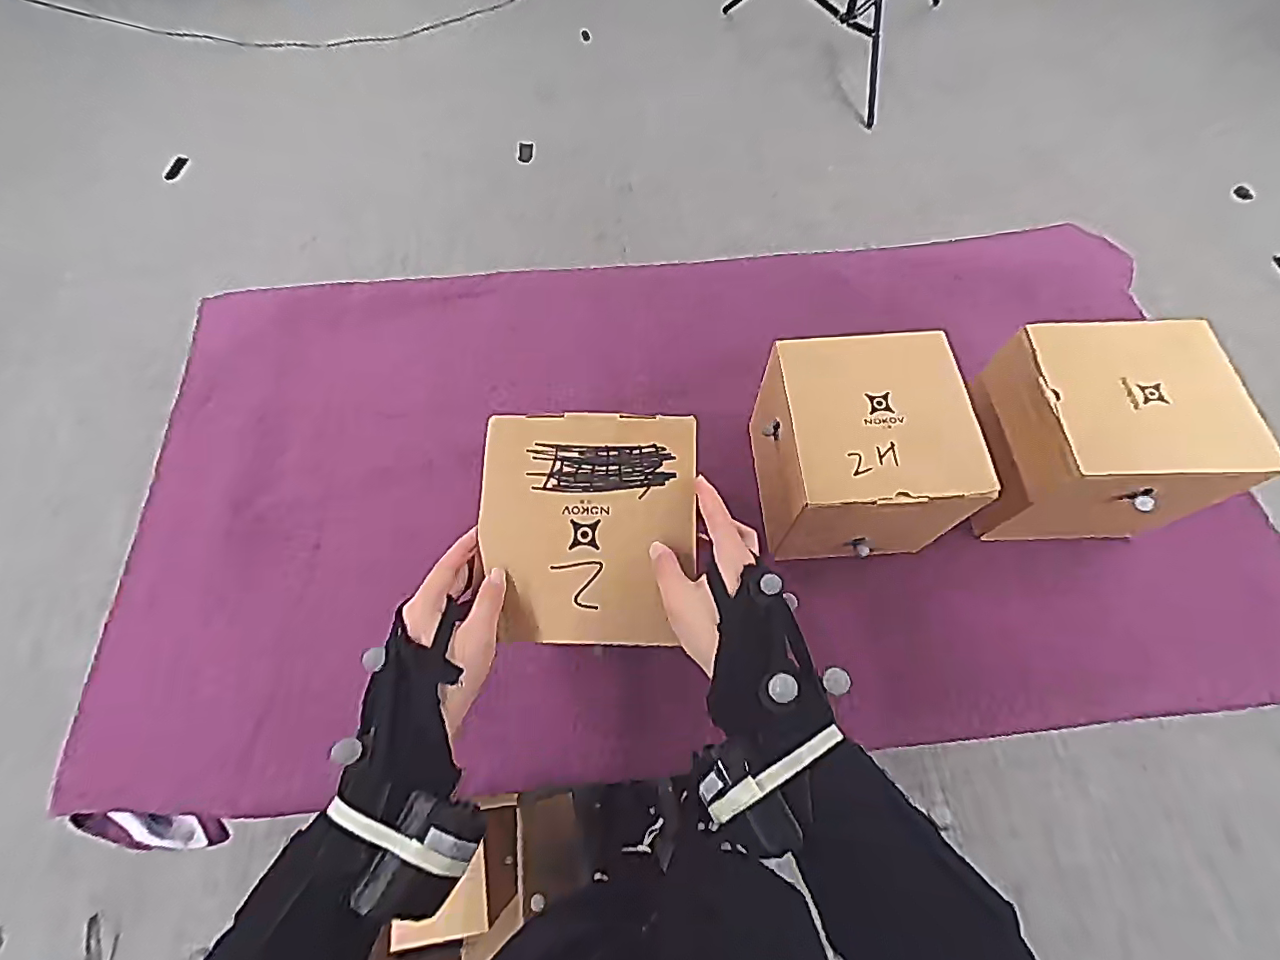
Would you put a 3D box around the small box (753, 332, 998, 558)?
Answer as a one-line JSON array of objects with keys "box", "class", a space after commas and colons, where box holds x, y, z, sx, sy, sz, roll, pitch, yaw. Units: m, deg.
[{"box": [0.220, -0.029, 0.564, 0.168, 0.176, 0.179, -3, 65, 1], "class": "small box"}]

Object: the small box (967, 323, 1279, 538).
[{"box": [0.461, -0.043, 0.565, 0.179, 0.176, 0.168, -1, 65, 2], "class": "small box"}]
